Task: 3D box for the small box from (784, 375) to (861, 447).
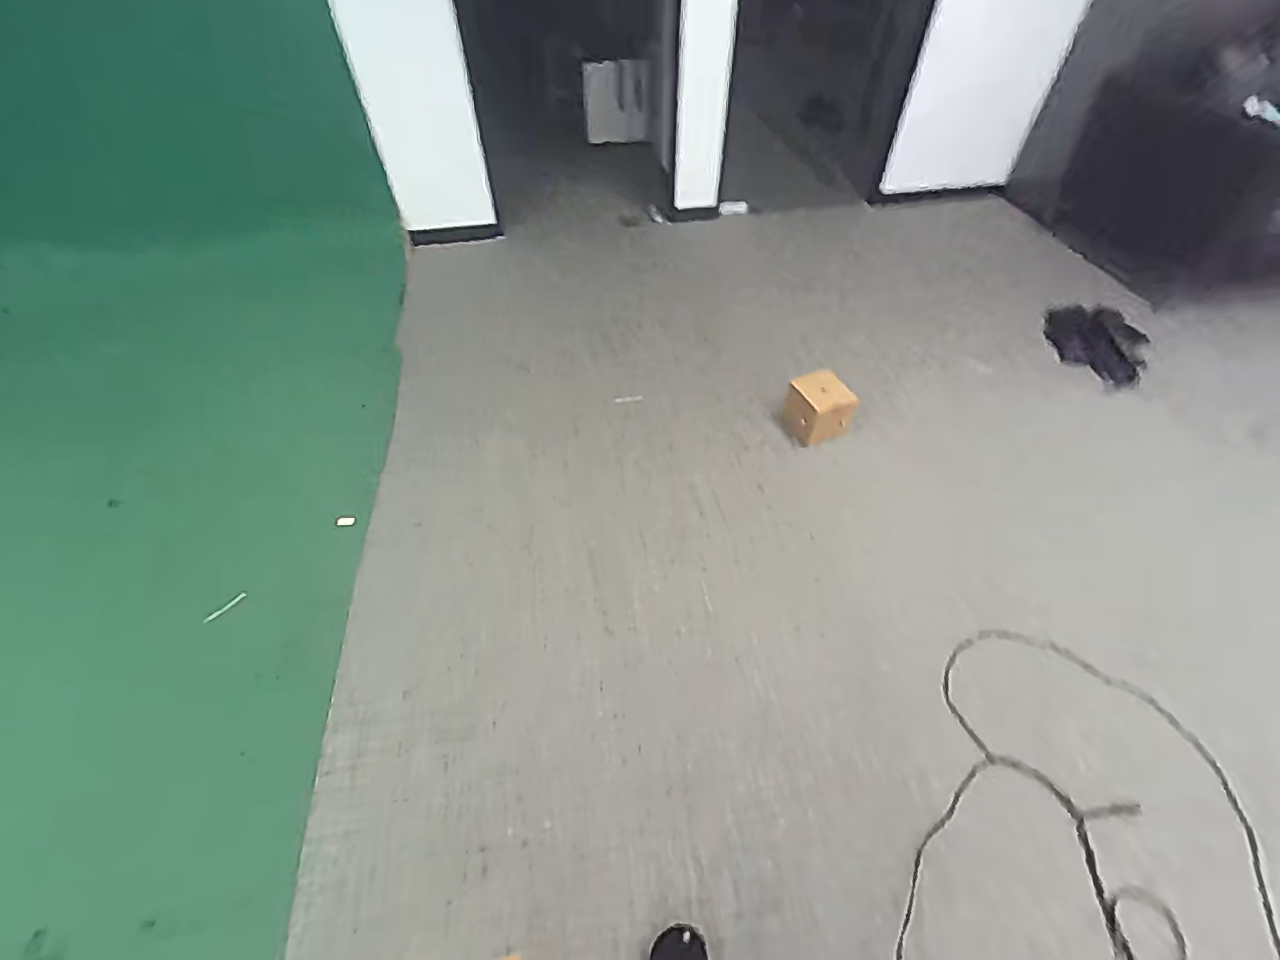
[{"bbox_3d":[0.629,-0.235,1.885,0.168,0.176,0.179,-16,50,-15],"label":"small box"}]
